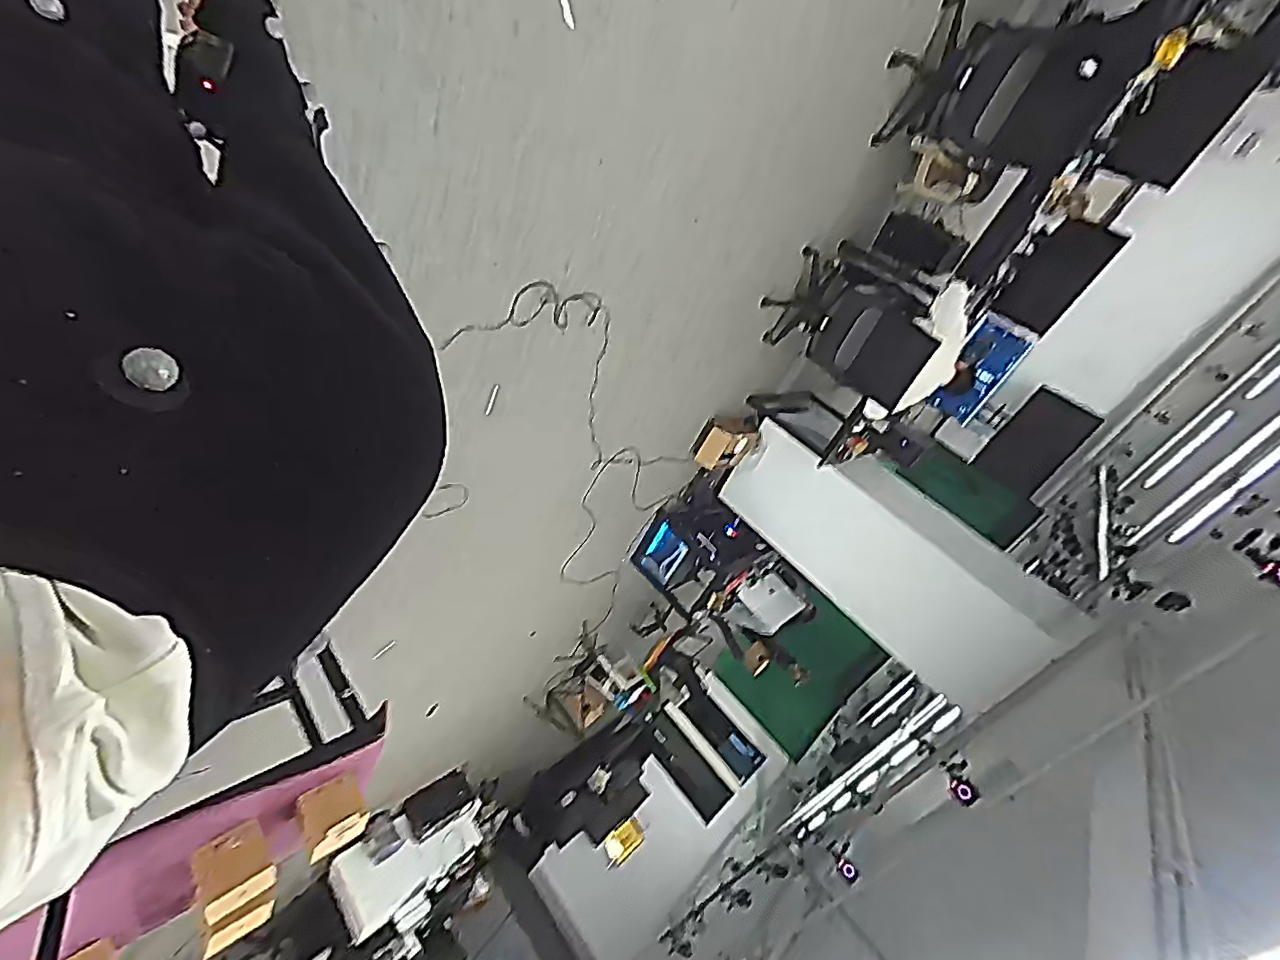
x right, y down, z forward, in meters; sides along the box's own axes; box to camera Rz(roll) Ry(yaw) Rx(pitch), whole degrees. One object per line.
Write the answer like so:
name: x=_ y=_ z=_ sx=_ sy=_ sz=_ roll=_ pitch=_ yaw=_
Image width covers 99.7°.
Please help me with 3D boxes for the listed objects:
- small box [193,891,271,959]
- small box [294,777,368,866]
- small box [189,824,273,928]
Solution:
small box: x=-1.341 y=1.404 z=1.774 sx=0.168 sy=0.176 sz=0.179 roll=-9 pitch=136 yaw=-51
small box: x=-1.054 y=1.151 z=1.837 sx=0.168 sy=0.176 sz=0.179 roll=-13 pitch=141 yaw=-48
small box: x=-1.231 y=1.186 z=1.631 sx=0.168 sy=0.176 sz=0.179 roll=-17 pitch=143 yaw=-46
